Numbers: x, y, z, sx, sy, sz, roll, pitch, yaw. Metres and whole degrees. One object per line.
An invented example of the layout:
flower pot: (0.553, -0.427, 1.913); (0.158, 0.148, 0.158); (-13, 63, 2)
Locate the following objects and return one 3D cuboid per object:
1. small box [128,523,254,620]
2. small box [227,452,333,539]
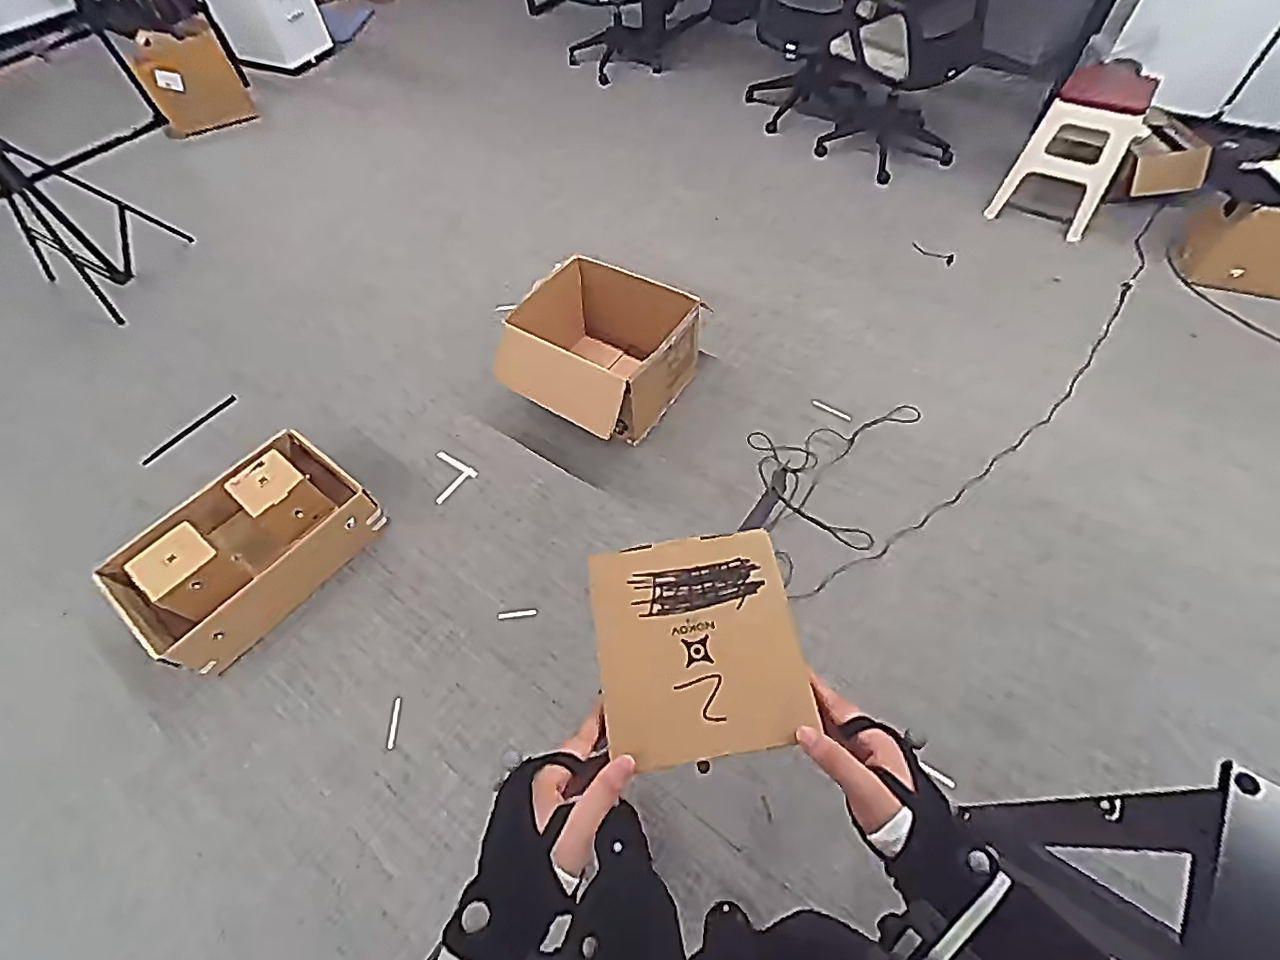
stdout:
small box: (-1.236, 0.259, 1.501); (0.168, 0.176, 0.179); (32, 63, 19)
small box: (-1.070, 0.055, 1.623); (0.179, 0.176, 0.168); (35, 66, 21)
